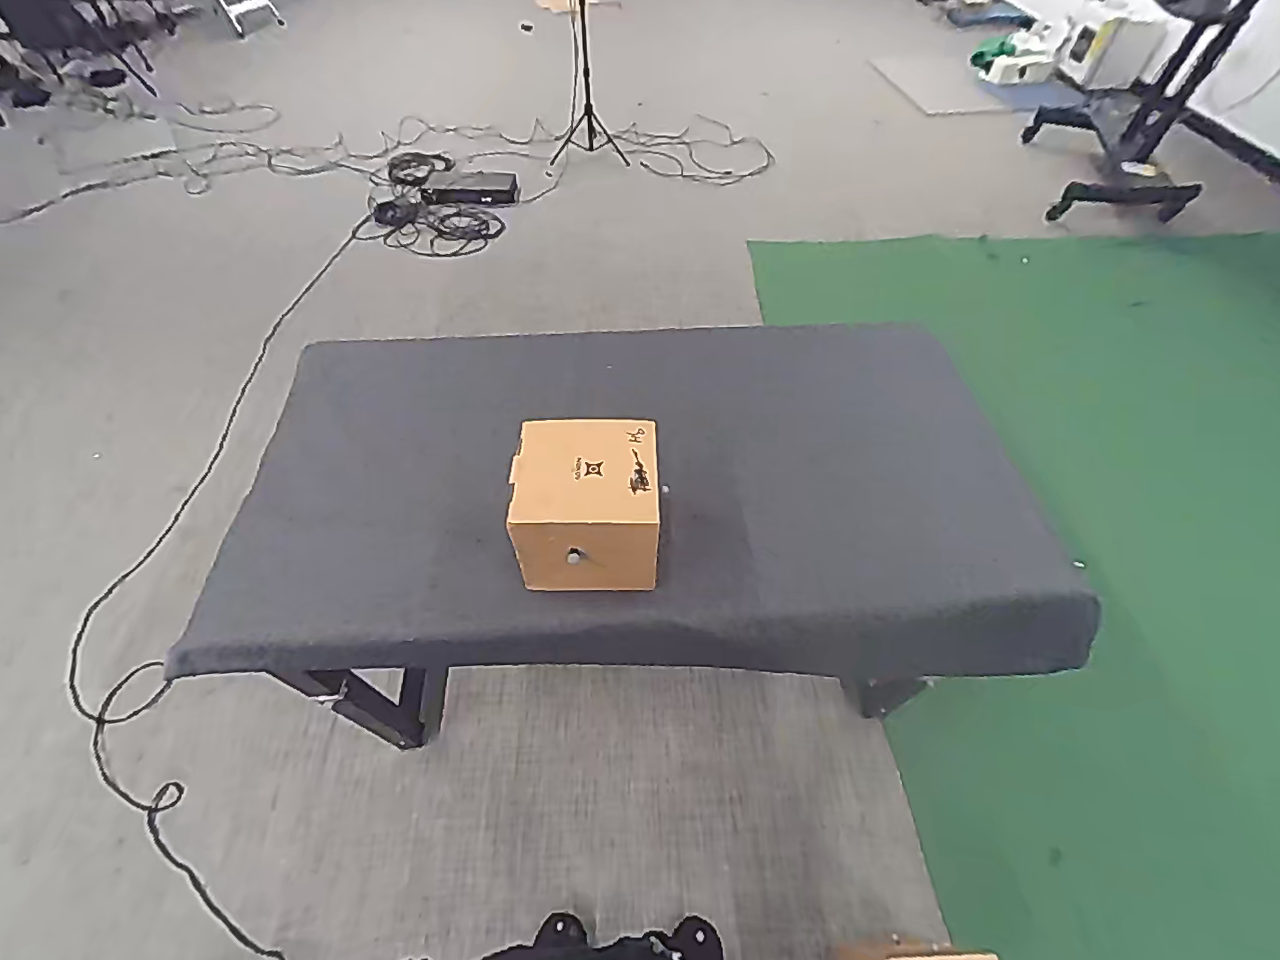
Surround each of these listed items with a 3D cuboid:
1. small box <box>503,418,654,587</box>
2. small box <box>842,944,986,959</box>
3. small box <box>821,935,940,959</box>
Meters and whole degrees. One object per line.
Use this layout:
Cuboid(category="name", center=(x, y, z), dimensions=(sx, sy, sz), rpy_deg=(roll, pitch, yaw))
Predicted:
Cuboid(category="small box", center=(-0.070, 0.034, 0.728), dimensions=(0.179, 0.176, 0.168), rpy_deg=(1, 52, -1))
Cuboid(category="small box", center=(0.441, 0.838, 0.842), dimensions=(0.179, 0.176, 0.168), rpy_deg=(-1, 52, -1))
Cuboid(category="small box", center=(0.450, 0.936, 0.974), dimensions=(0.179, 0.176, 0.168), rpy_deg=(-3, 52, -2))
